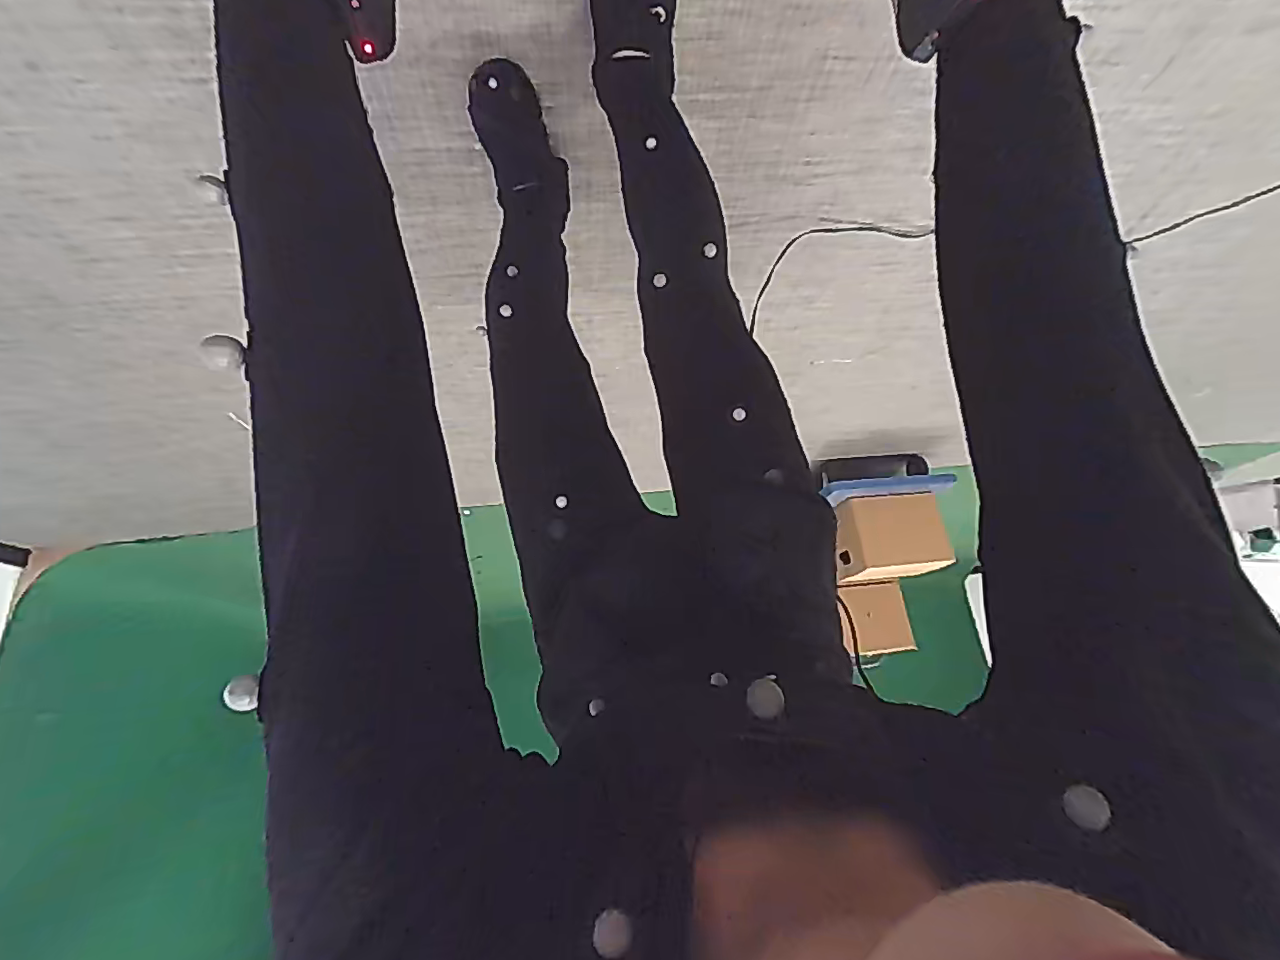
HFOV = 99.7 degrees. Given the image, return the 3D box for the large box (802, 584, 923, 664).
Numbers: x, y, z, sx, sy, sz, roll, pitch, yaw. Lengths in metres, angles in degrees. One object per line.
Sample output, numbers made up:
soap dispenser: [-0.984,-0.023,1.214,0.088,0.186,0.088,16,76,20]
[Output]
large box: [1.064,0.704,2.635,0.408,0.320,0.320,-4,160,-11]
